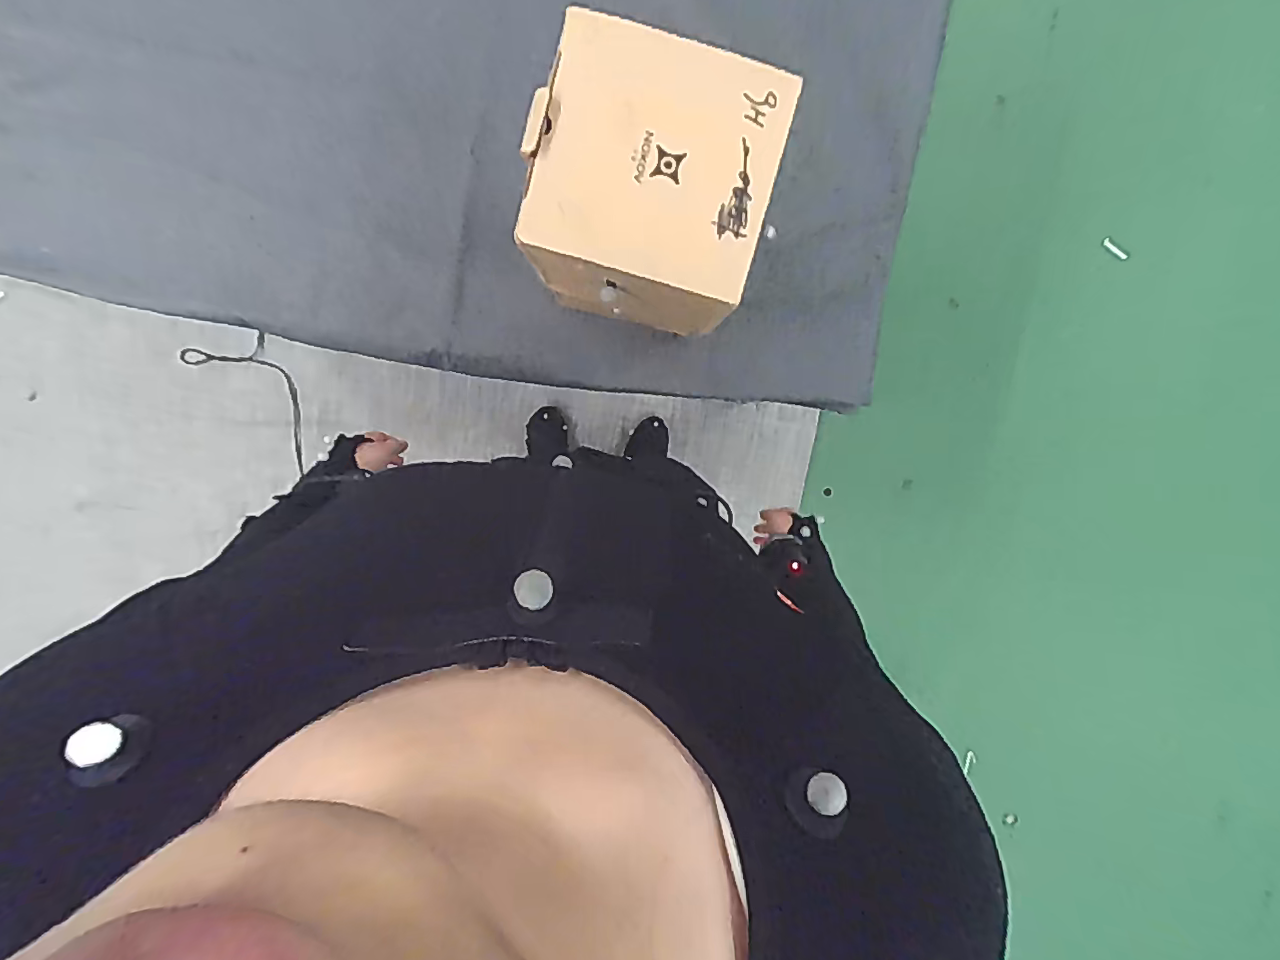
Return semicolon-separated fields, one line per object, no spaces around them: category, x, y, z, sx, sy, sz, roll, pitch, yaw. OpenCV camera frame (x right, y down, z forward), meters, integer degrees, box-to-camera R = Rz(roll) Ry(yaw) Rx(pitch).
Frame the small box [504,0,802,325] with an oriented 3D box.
small box;0.007;-0.241;0.457;0.179;0.176;0.168;15;98;-2
